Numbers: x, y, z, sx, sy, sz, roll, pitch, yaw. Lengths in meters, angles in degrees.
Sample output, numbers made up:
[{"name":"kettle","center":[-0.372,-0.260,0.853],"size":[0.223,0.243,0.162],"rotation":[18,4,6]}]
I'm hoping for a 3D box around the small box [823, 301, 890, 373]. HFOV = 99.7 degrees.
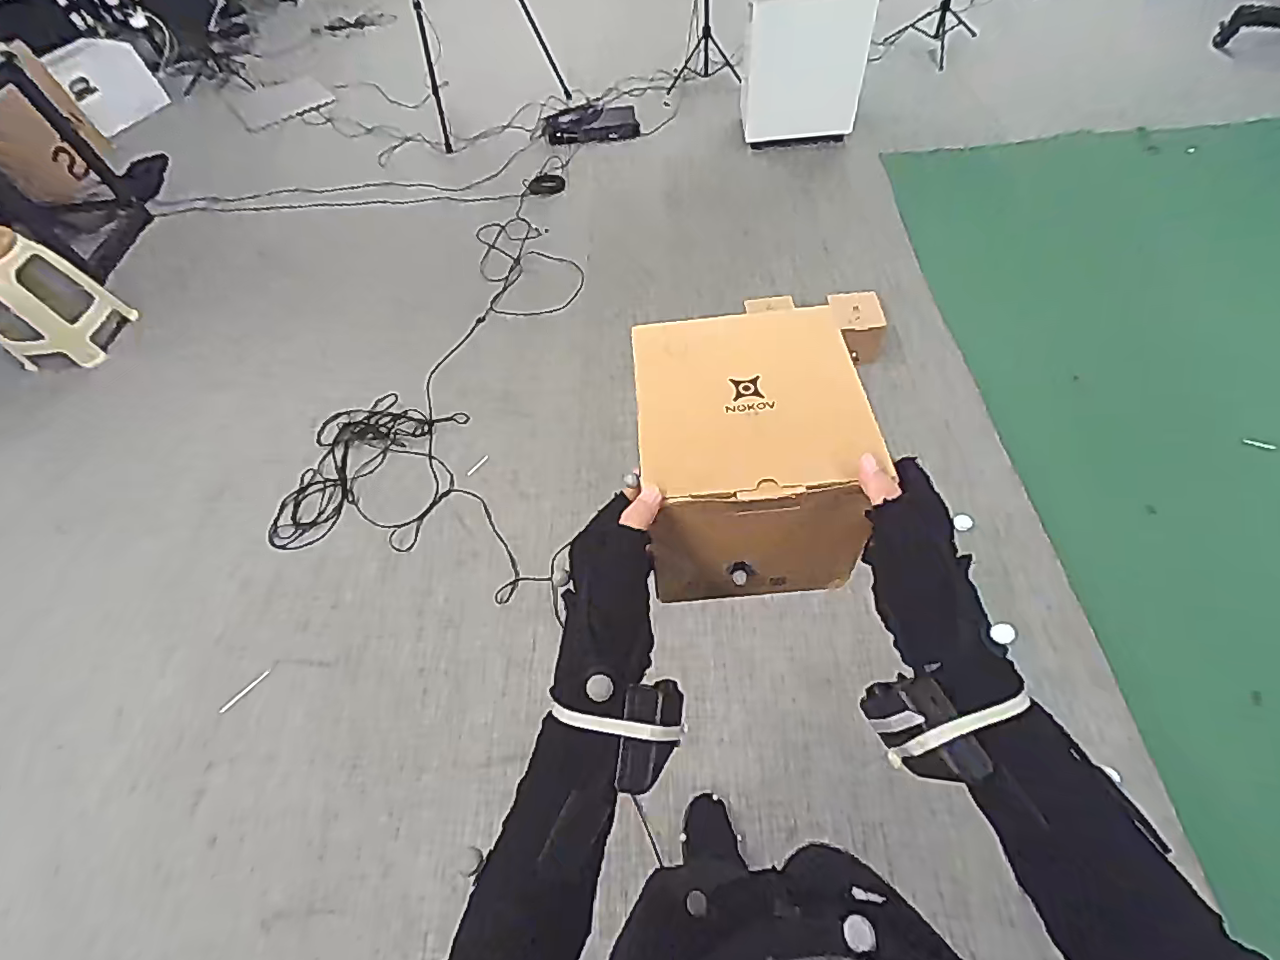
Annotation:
[{"name":"small box","center":[0.745,-0.496,1.883],"size":[0.168,0.176,0.179],"rotation":[-3,57,6]}]
